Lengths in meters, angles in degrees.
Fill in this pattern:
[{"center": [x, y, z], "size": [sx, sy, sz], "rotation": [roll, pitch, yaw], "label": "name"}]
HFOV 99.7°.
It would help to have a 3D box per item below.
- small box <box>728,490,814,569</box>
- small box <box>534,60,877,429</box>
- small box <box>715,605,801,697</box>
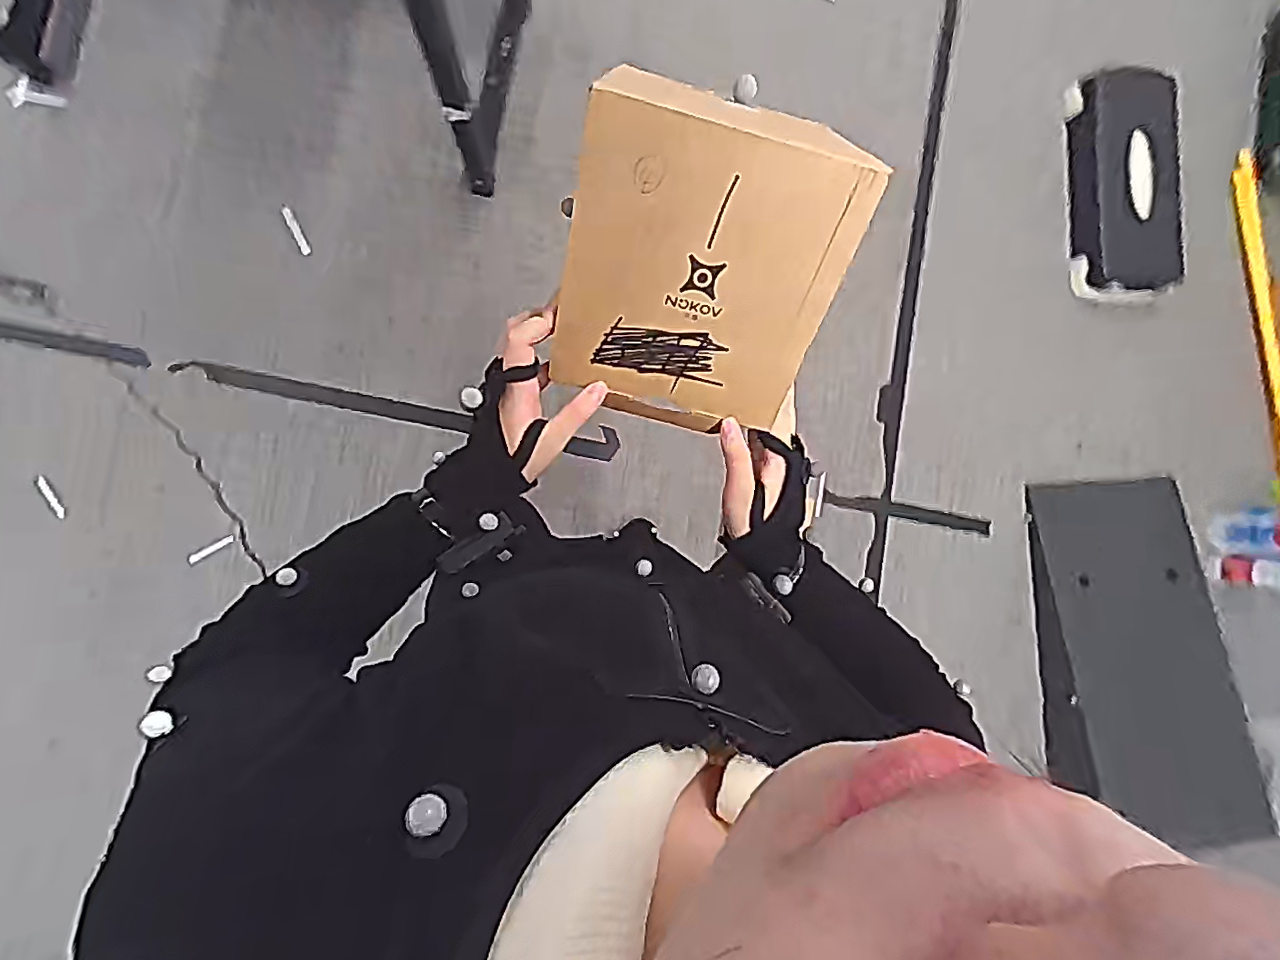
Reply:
[{"center": [0.341, 0.128, 1.442], "size": [0.168, 0.176, 0.179], "rotation": [10, 87, -6], "label": "small box"}, {"center": [0.031, -0.167, 0.383], "size": [0.168, 0.176, 0.179], "rotation": [12, 129, -6], "label": "small box"}, {"center": [0.304, 0.446, 1.429], "size": [0.168, 0.176, 0.179], "rotation": [10, 88, -6], "label": "small box"}]
